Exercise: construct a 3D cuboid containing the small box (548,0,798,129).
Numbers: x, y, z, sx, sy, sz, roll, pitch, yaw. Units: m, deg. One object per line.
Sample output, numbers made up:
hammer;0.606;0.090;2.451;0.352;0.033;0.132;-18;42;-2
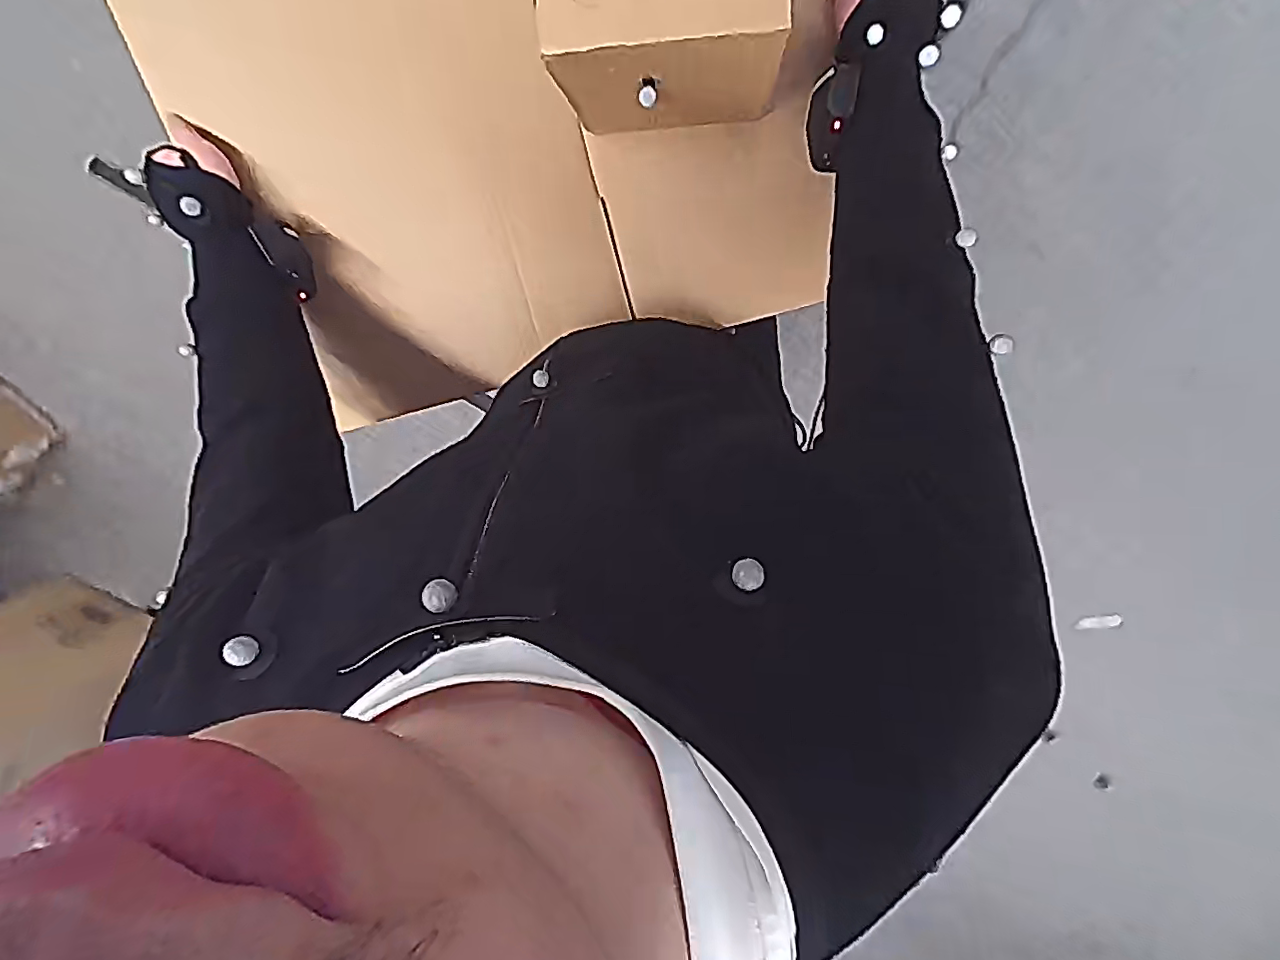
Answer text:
small box;0.031;-0.404;0.434;0.179;0.176;0.168;1;106;8
